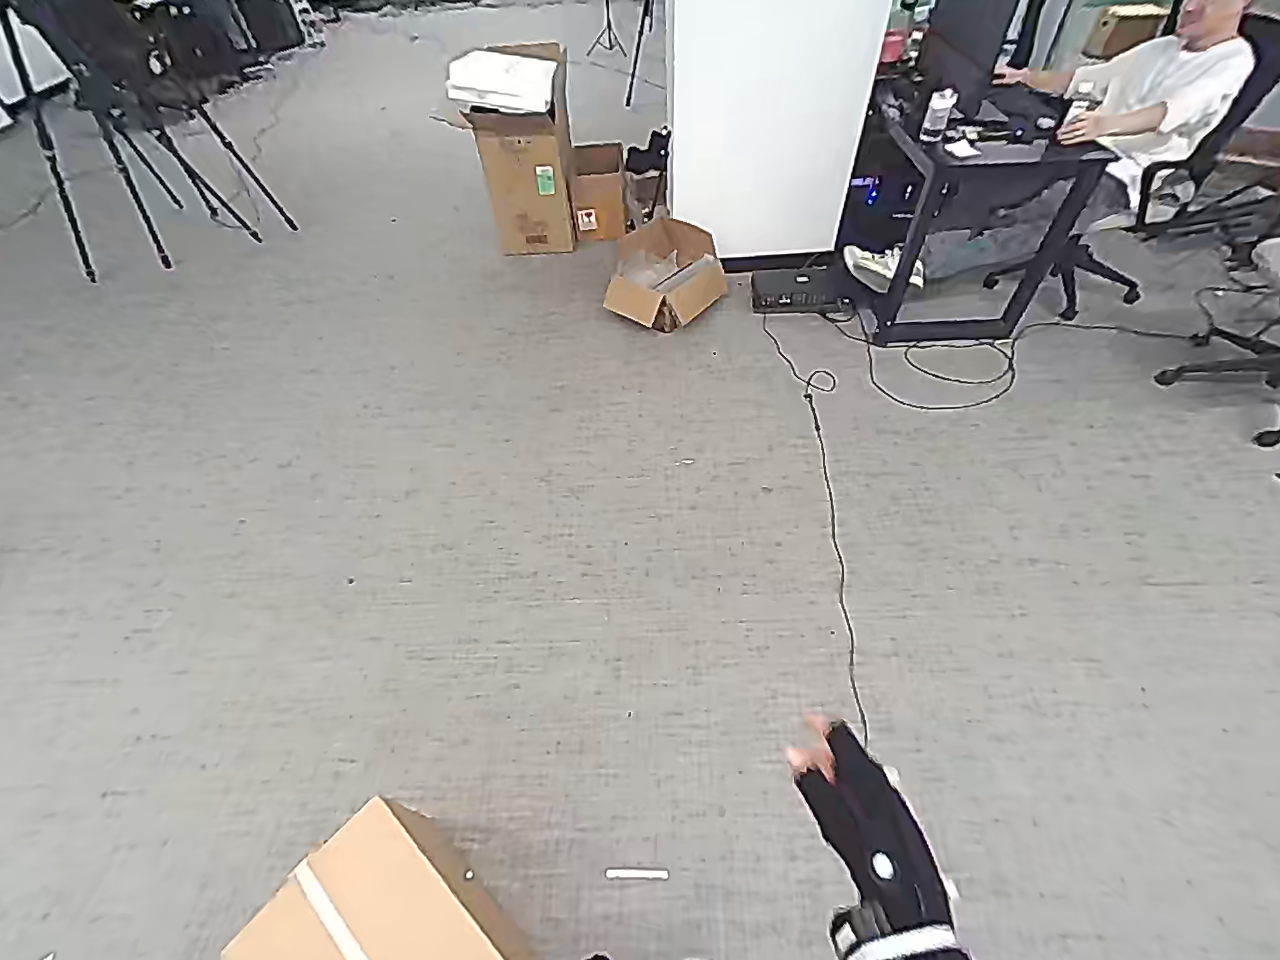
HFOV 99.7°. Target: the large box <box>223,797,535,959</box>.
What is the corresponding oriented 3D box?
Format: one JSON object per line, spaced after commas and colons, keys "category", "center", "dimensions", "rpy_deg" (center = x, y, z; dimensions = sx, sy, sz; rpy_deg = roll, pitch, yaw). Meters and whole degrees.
{"category": "large box", "center": [-0.467, 0.905, 1.031], "dimensions": [0.408, 0.320, 0.320], "rpy_deg": [32, 59, 26]}
